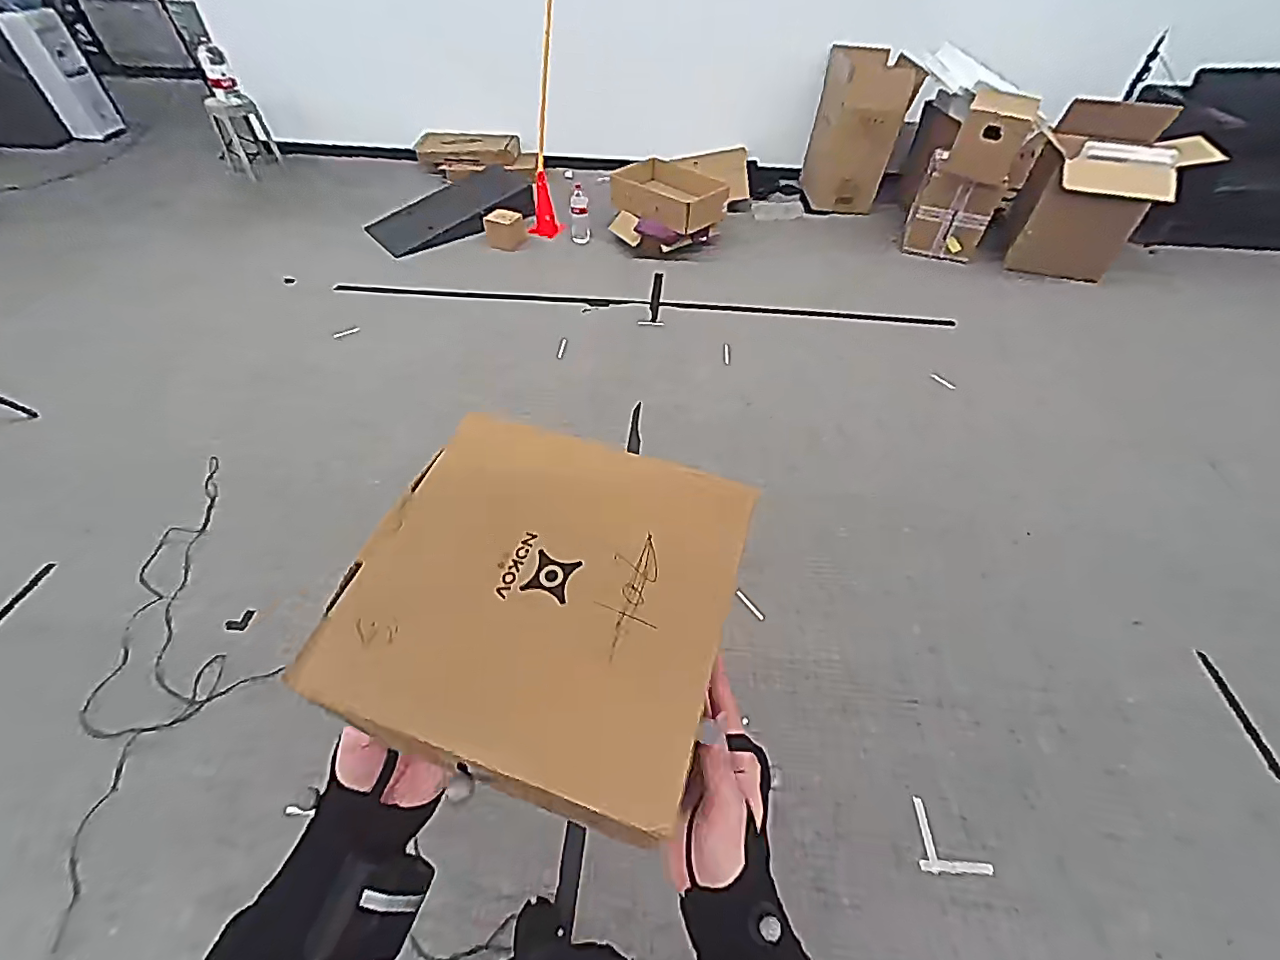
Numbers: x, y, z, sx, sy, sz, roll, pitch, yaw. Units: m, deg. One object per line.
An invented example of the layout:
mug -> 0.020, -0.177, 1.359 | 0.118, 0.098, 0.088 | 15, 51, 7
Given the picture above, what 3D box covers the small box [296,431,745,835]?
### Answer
small box -> -0.048, 0.099, 0.332 | 0.179, 0.176, 0.168 | 14, 56, 9
